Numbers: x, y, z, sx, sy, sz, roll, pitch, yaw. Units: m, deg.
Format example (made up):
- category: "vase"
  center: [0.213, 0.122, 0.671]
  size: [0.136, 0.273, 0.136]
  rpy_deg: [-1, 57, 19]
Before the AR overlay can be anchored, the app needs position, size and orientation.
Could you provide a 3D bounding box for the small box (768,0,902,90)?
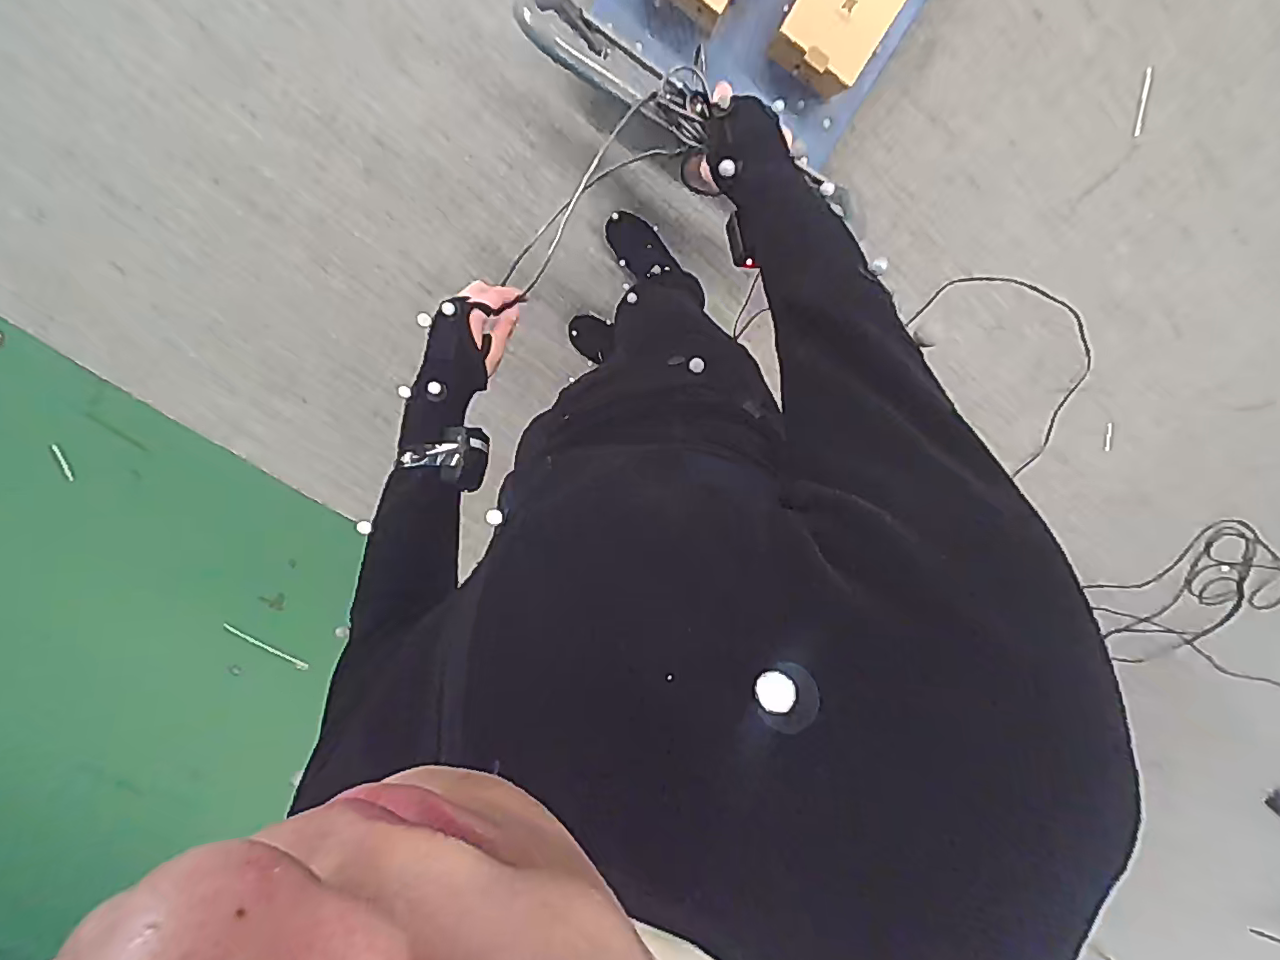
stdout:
- category: "small box"
  center: [0.360, -0.871, 1.008]
  size: [0.168, 0.176, 0.179]
  rpy_deg: [28, 118, -13]
